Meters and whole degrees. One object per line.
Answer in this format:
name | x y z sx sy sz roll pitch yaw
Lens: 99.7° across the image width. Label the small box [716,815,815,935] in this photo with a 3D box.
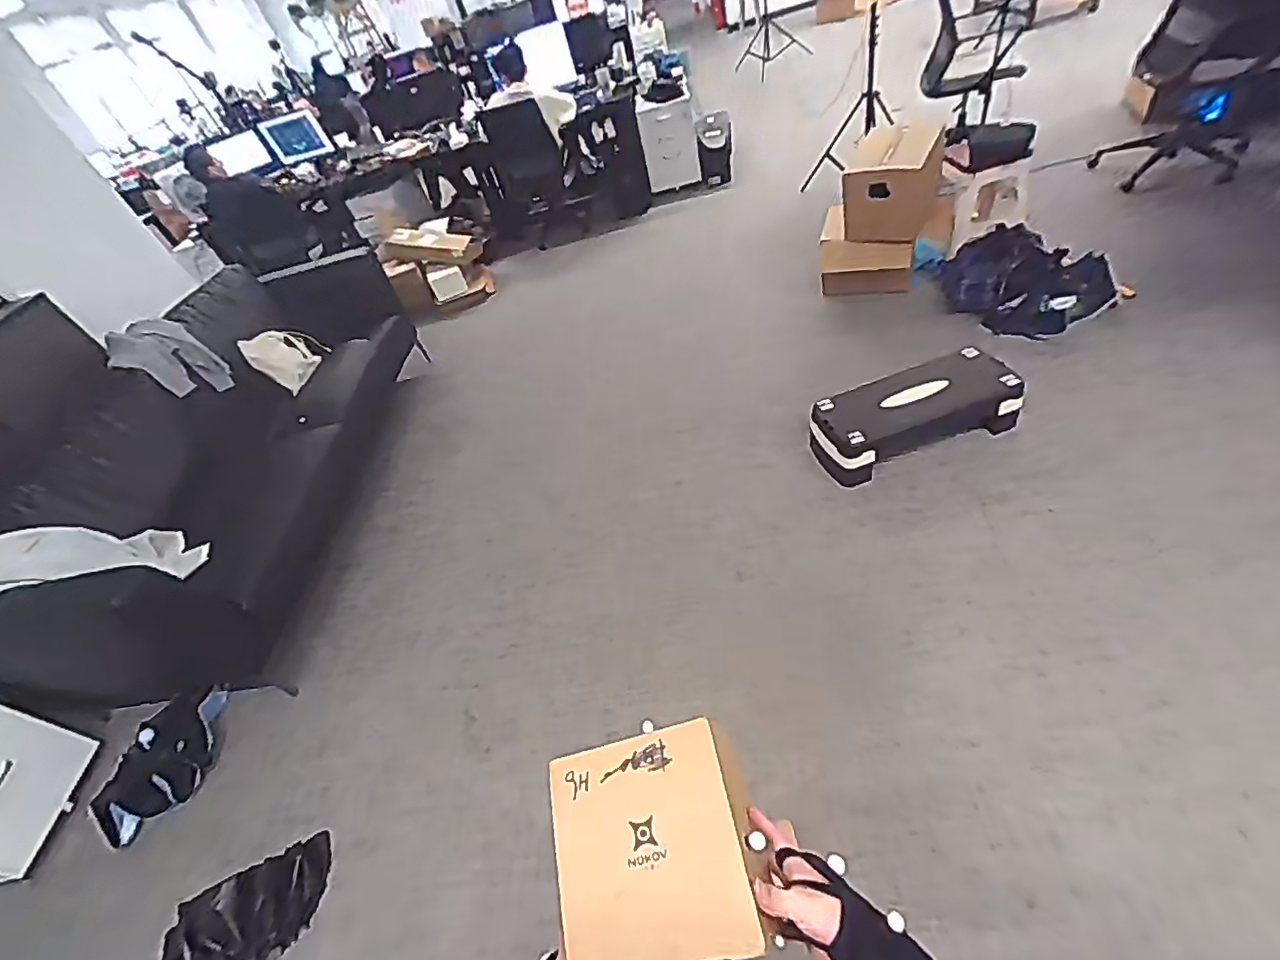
small box | 0.271 0.860 1.175 0.168 0.176 0.179 -15 46 6
